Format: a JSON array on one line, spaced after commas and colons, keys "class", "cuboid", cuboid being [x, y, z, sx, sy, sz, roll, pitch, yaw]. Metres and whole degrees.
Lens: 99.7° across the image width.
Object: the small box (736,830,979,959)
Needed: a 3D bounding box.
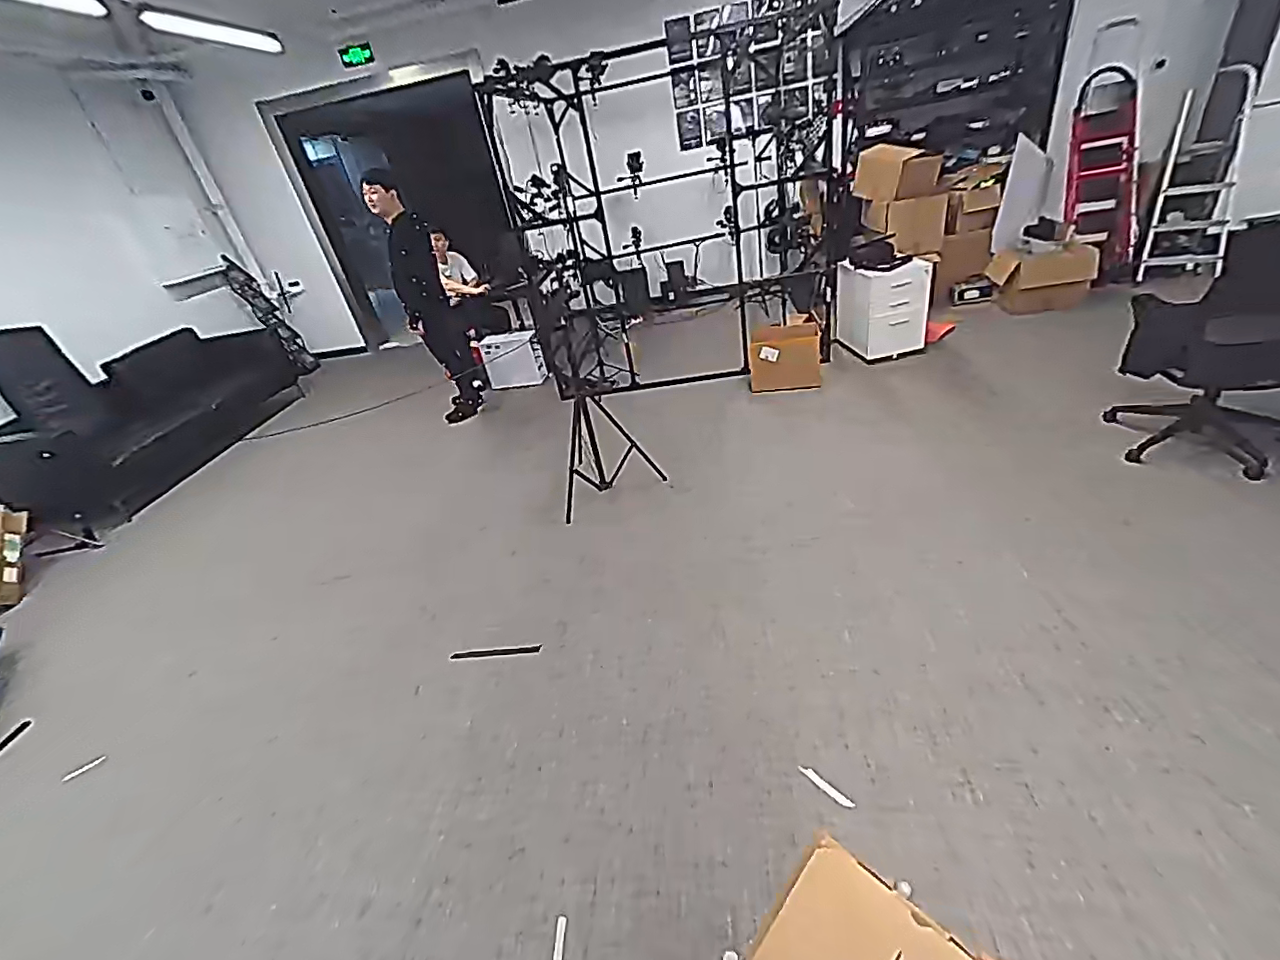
[{"class": "small box", "cuboid": [0.176, 0.433, 0.452, 0.168, 0.176, 0.179, 31, 69, 29]}]
